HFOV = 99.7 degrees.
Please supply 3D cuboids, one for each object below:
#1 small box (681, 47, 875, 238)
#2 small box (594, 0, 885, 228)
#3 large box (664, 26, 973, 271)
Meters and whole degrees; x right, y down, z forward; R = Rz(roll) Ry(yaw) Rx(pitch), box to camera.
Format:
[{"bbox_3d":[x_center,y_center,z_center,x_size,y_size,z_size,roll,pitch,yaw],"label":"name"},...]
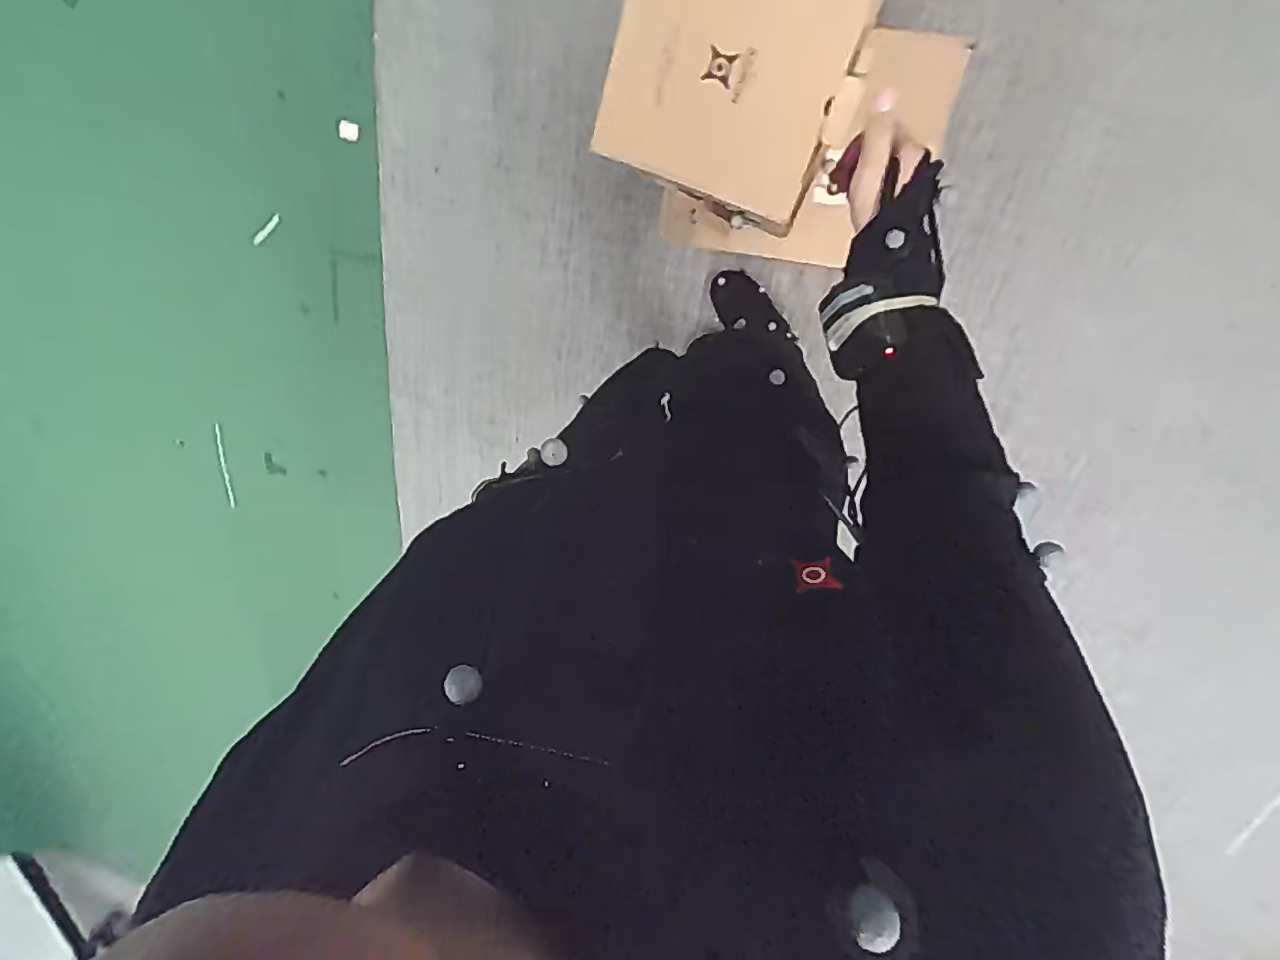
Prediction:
[{"bbox_3d":[0.134,-0.397,0.618,0.168,0.176,0.179,24,118,2],"label":"small box"},{"bbox_3d":[0.084,-0.336,0.476,0.179,0.176,0.168,22,116,4],"label":"small box"},{"bbox_3d":[0.277,-0.568,0.962,0.408,0.320,0.320,12,117,8],"label":"large box"}]
